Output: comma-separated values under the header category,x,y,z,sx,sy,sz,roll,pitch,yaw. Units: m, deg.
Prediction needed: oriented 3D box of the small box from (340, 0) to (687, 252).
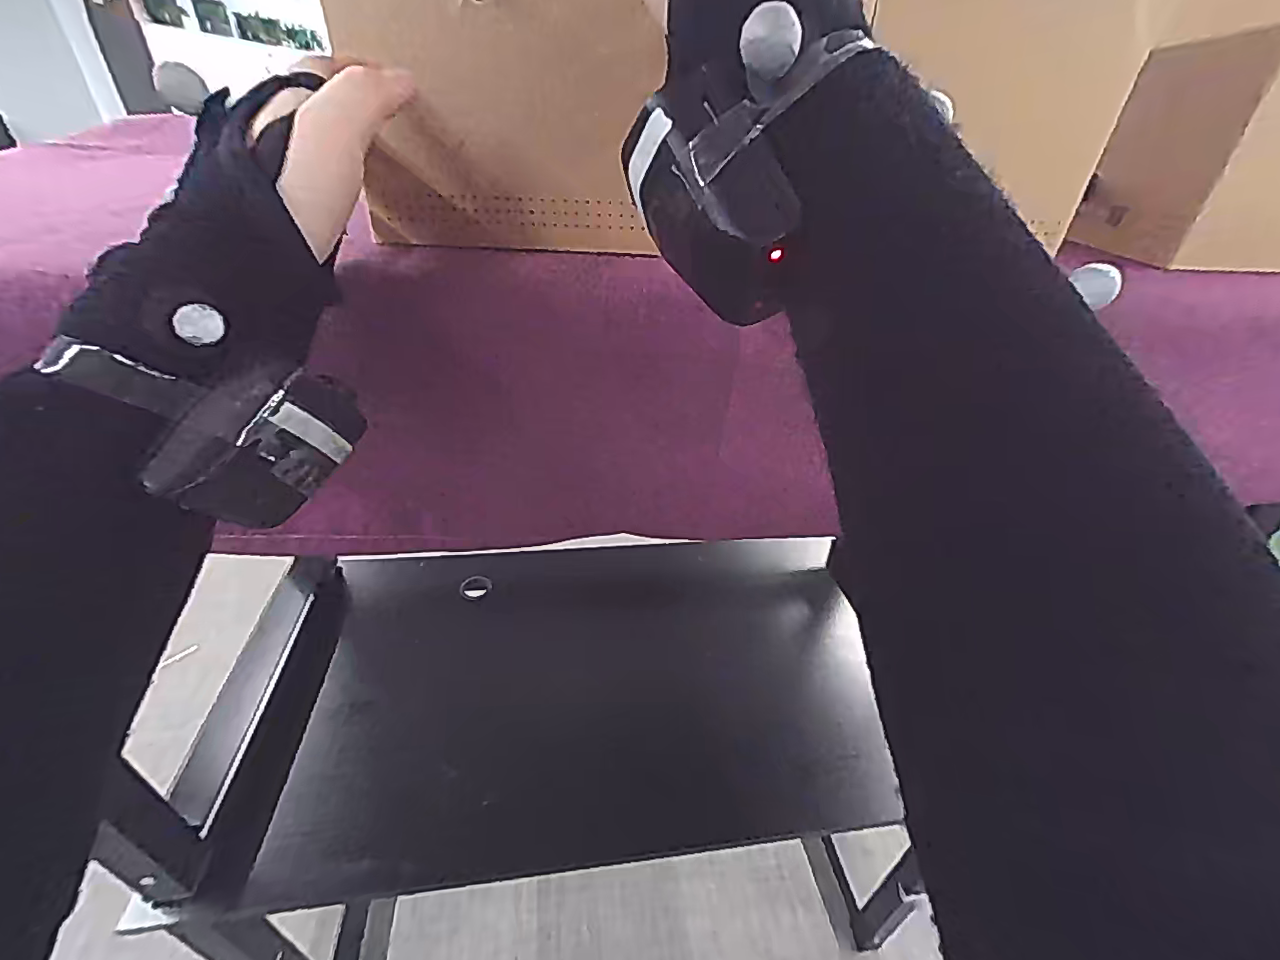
category,x,y,z,sx,sy,sz,roll,pitch,yaw
small box,-0.063,-0.246,0.333,0.179,0.176,0.168,3,35,0

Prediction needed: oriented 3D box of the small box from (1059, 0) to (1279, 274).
category,x,y,z,sx,sy,sz,roll,pitch,yaw
small box,0.438,-0.250,0.384,0.179,0.176,0.168,0,34,-4
